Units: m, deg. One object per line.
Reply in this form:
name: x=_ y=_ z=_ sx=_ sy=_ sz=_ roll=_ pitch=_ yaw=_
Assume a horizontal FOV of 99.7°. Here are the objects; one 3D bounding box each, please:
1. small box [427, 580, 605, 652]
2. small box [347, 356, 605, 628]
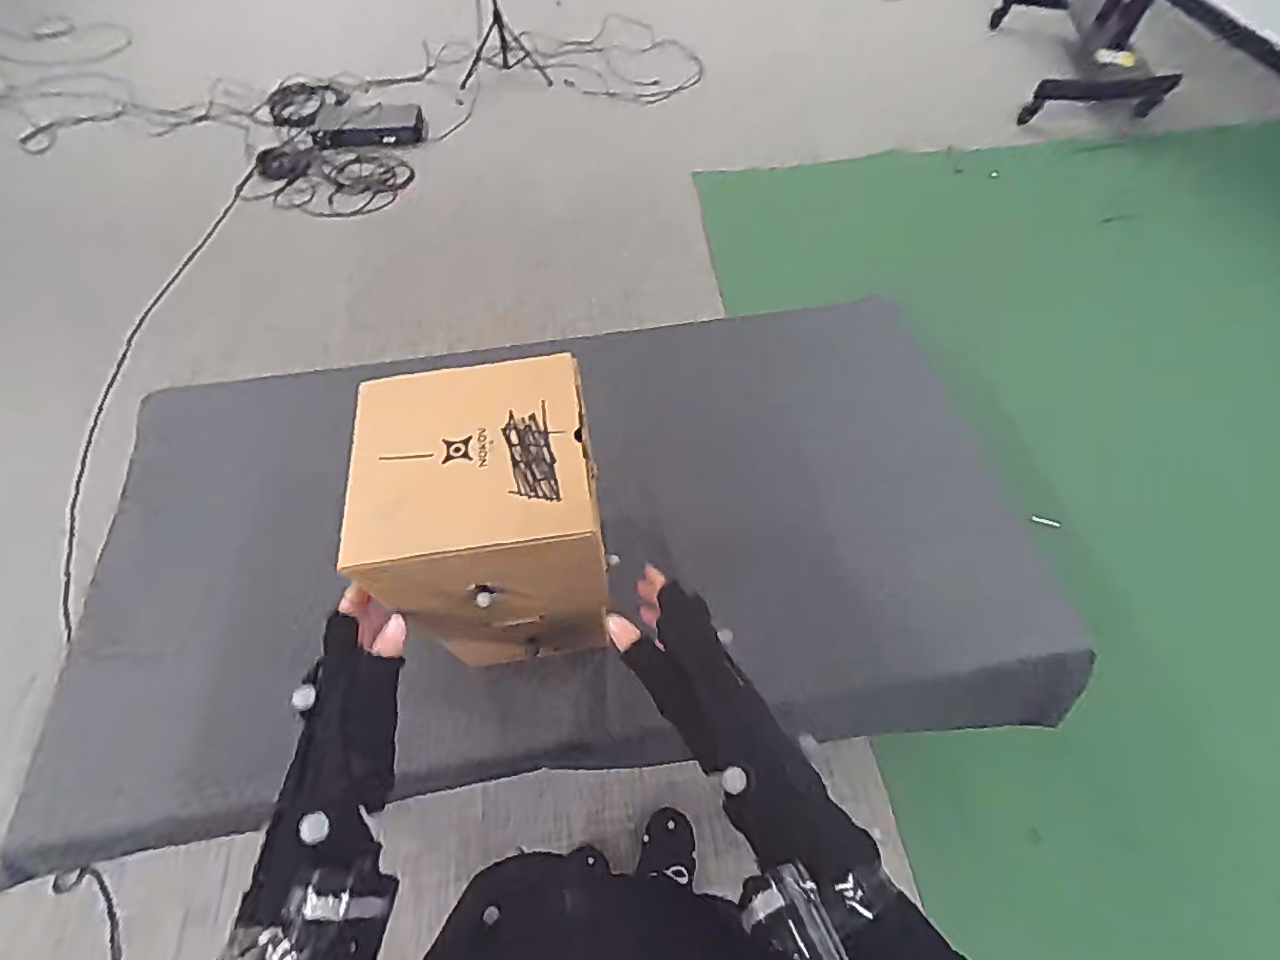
small box: x=-0.134 y=0.092 z=0.623 sx=0.168 sy=0.176 sz=0.179 roll=-8 pitch=62 yaw=-4
small box: x=-0.128 y=0.018 z=0.475 sx=0.179 sy=0.176 sz=0.168 roll=-10 pitch=61 yaw=-7
